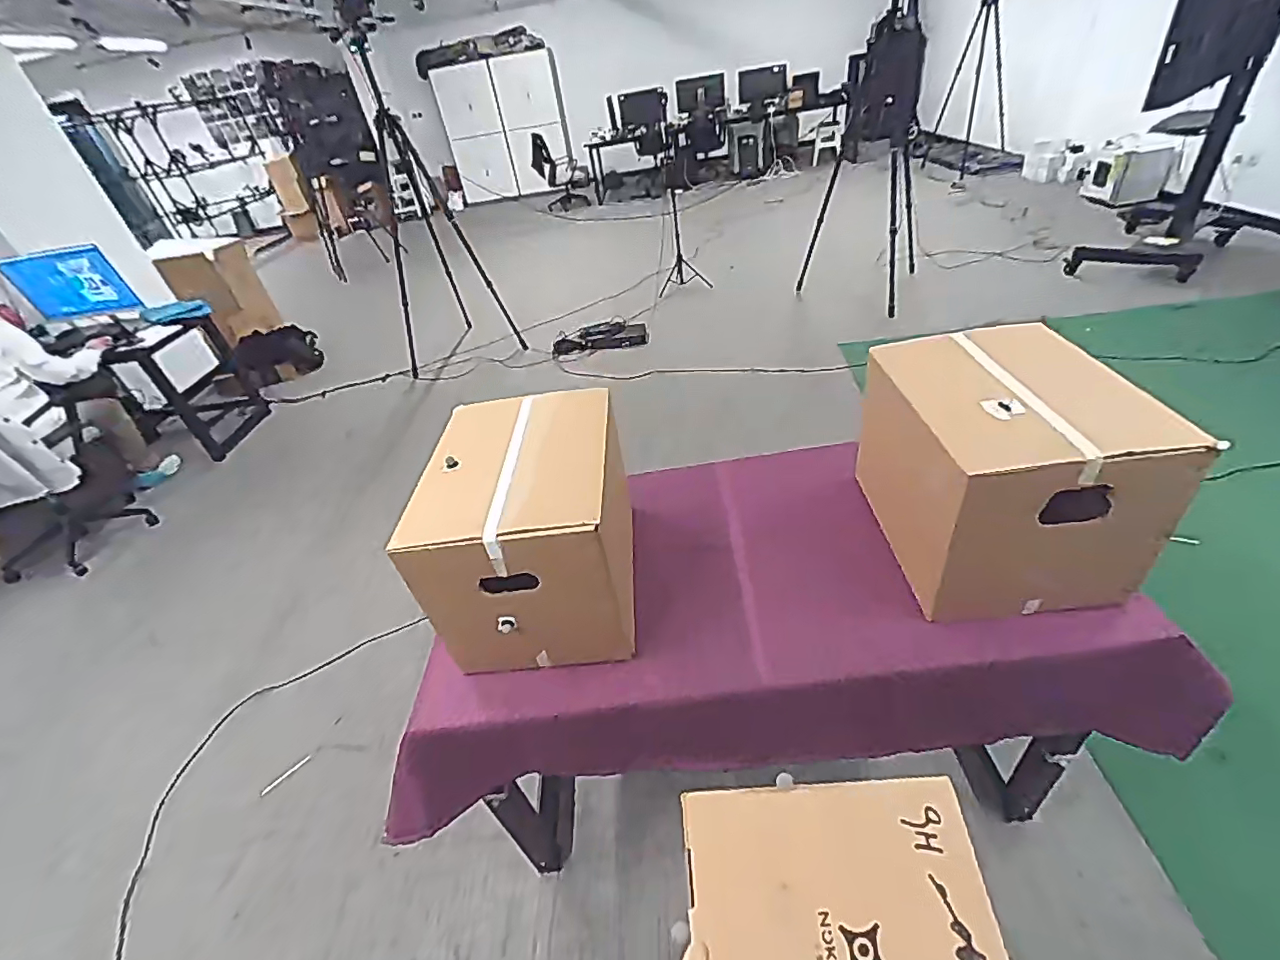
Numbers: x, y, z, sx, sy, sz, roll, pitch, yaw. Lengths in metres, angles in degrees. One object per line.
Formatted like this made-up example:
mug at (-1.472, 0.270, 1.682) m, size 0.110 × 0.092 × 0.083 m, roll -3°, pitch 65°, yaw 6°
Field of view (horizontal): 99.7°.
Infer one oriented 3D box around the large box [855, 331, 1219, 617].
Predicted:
large box at (0.610, -0.023, 0.949) m, size 0.320 × 0.320 × 0.408 m, roll -7°, pitch 38°, yaw 5°
